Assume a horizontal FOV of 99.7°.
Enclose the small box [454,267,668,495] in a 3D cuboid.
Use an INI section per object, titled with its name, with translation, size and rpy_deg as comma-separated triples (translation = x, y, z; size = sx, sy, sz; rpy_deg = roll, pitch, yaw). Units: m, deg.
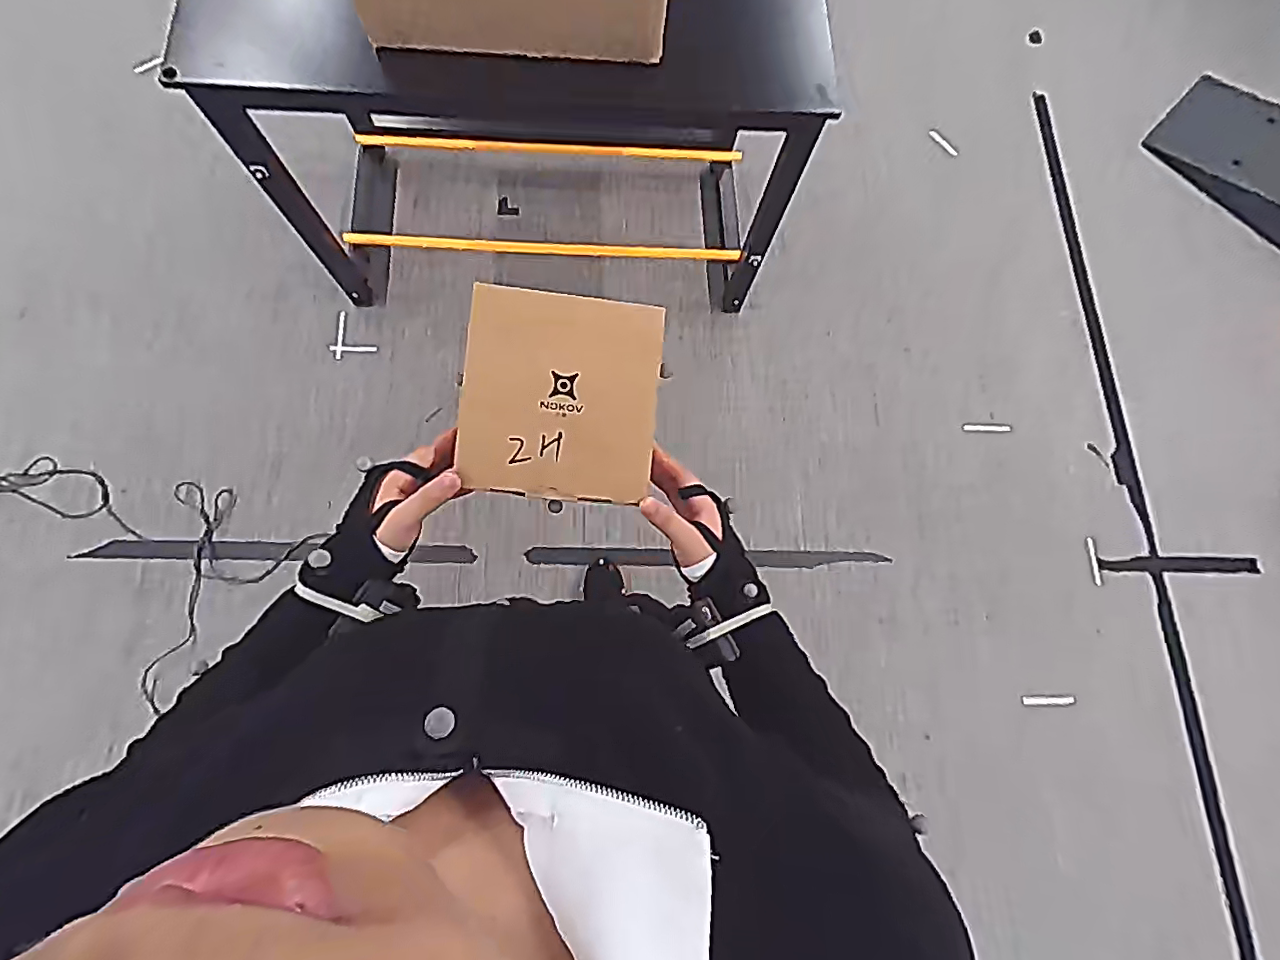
[small box]
translation = -0.073, -0.081, 0.534
size = 0.168, 0.176, 0.179
rpy_deg = 6, 88, -6
